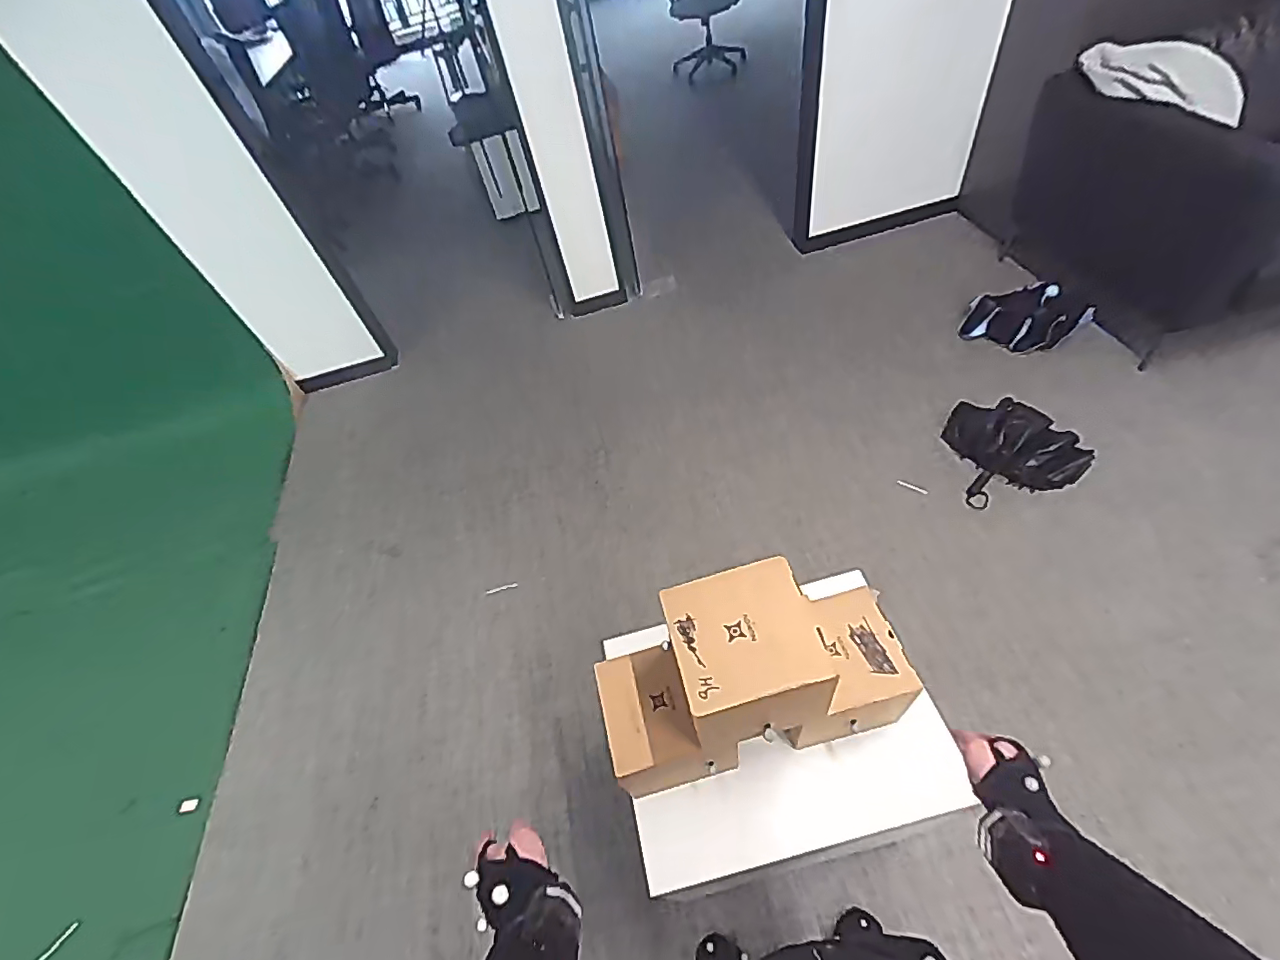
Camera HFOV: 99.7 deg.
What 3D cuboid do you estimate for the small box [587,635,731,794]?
[{"bbox_3d":[0.029,0.357,0.830,0.179,0.176,0.168,-15,49,-4],"label":"small box"}]

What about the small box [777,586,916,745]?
[{"bbox_3d":[0.286,0.291,0.841,0.179,0.176,0.168,-14,51,-1],"label":"small box"}]

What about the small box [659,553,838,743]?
[{"bbox_3d":[0.131,0.223,0.710,0.179,0.176,0.168,-14,50,-2],"label":"small box"}]
